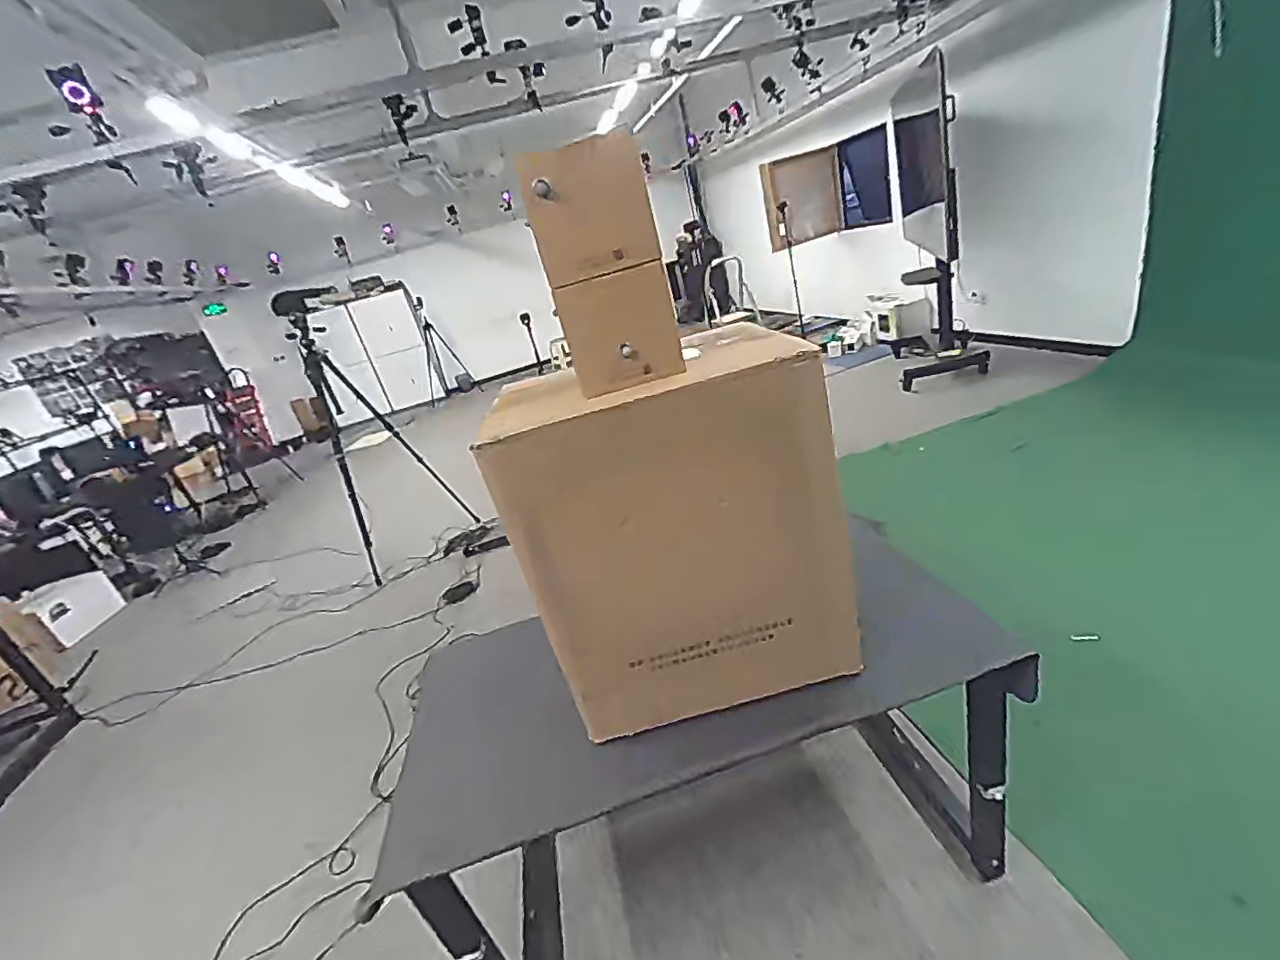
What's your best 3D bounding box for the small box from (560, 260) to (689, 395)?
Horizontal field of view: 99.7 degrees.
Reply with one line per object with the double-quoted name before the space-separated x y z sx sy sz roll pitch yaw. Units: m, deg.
"small box" -0.025 -0.250 0.880 0.168 0.176 0.179 -15 25 1
